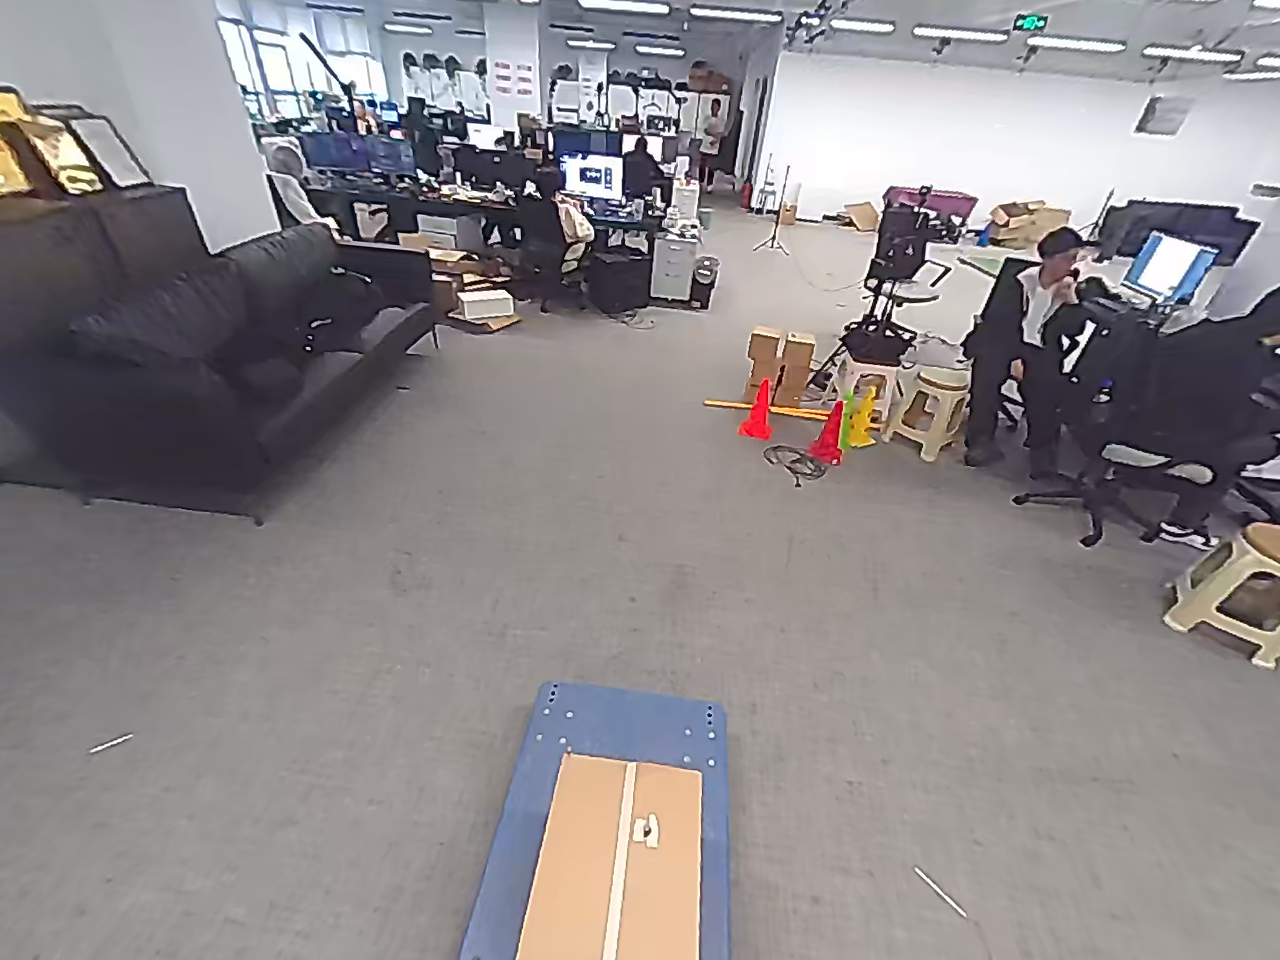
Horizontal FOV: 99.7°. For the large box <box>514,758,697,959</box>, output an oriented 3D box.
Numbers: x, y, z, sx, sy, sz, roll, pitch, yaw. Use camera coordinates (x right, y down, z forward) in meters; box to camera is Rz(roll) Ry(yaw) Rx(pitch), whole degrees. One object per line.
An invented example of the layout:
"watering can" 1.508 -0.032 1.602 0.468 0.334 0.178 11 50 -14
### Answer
"large box" -0.056 0.868 1.117 0.320 0.320 0.408 7 34 2
